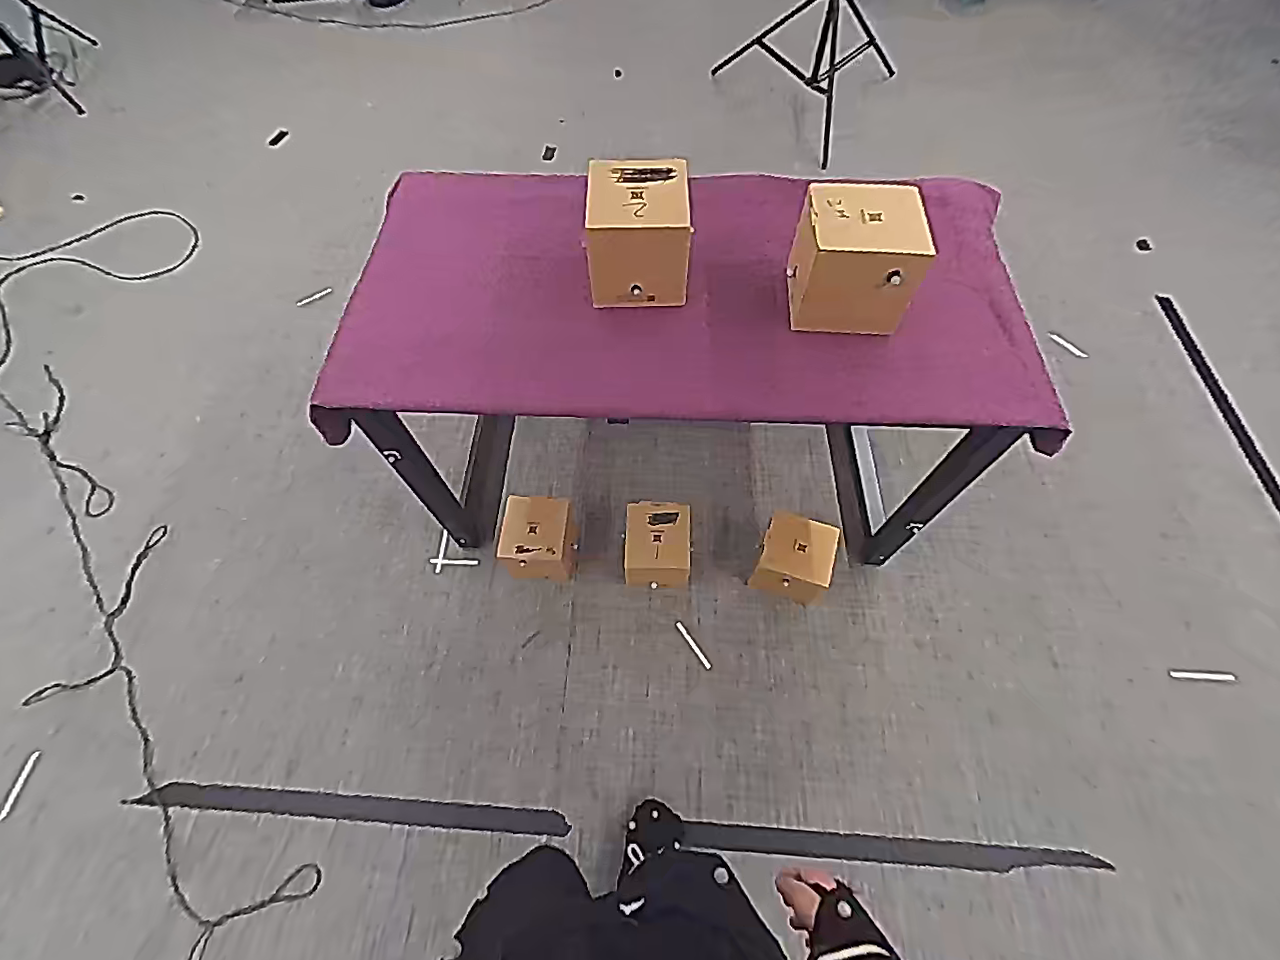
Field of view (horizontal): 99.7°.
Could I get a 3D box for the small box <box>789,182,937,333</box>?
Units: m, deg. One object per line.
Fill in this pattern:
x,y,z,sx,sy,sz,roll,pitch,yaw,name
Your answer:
0.357,-0.365,0.903,0.179,0.176,0.168,3,61,4,small box

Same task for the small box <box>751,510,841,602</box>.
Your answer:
0.405,0.207,1.423,0.179,0.176,0.168,17,64,11,small box

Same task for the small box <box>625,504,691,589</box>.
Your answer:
0.049,0.180,1.443,0.168,0.176,0.179,1,62,2,small box

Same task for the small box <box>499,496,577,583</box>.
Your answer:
-0.267,0.163,1.459,0.168,0.176,0.179,4,60,3,small box
